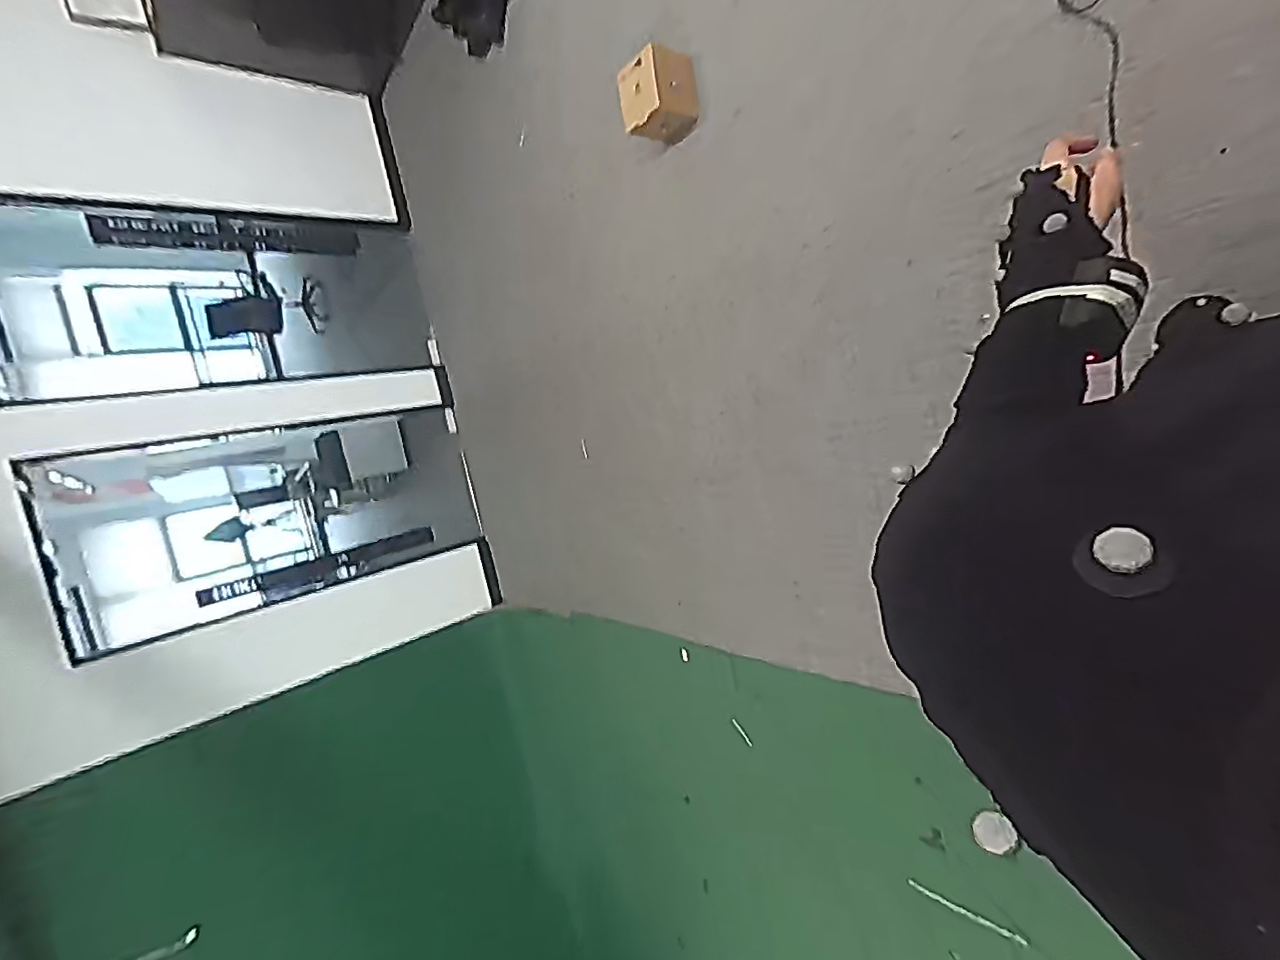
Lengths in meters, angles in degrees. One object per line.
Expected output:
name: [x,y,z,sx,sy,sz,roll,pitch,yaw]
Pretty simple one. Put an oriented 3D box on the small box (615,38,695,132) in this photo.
small box: [0.051,-1.208,1.672,0.168,0.176,0.179,-1,103,51]
